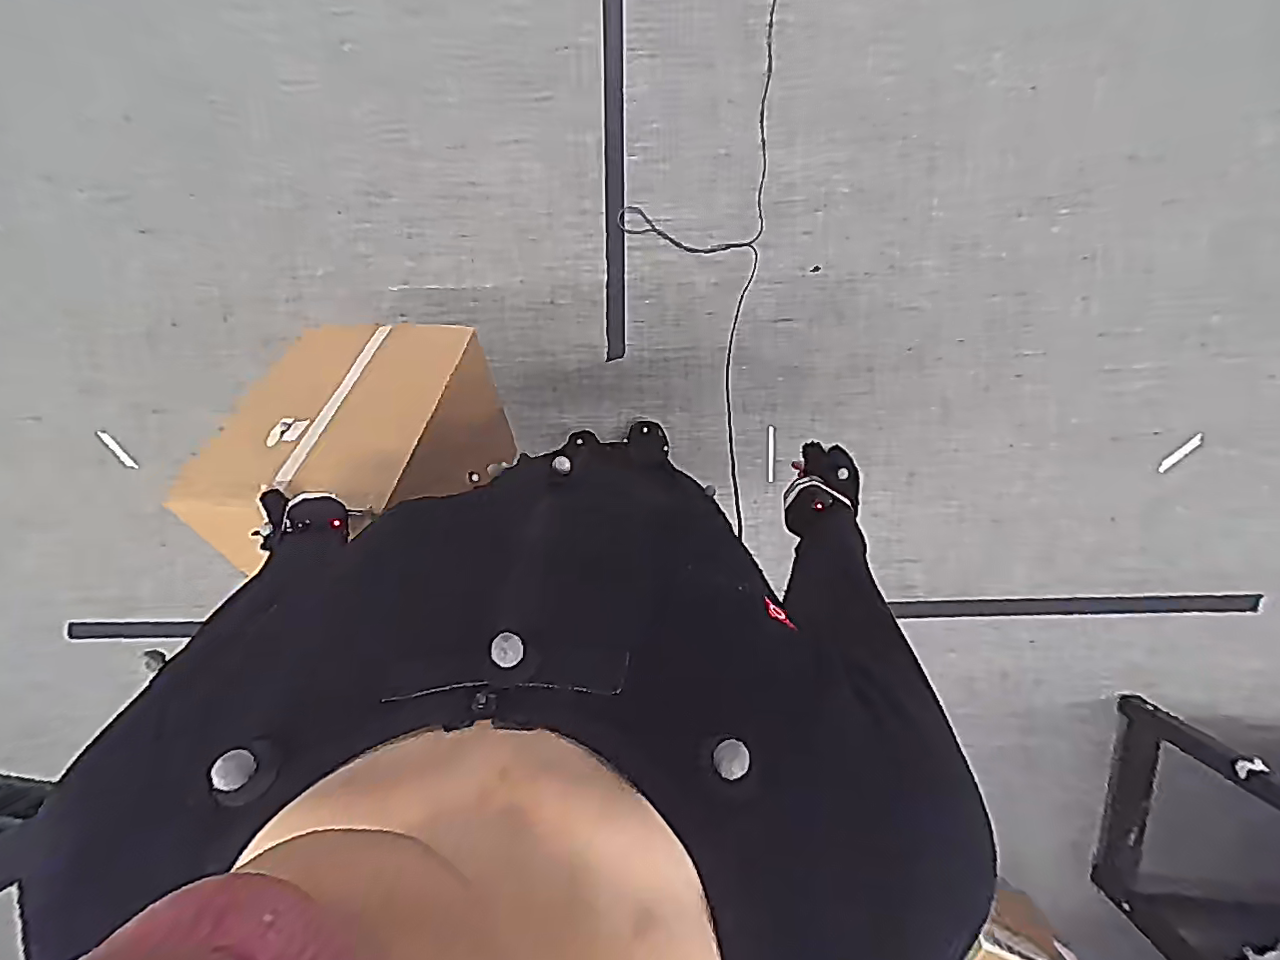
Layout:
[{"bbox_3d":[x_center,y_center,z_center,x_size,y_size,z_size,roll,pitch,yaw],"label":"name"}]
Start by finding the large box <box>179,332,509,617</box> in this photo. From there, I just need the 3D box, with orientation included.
[{"bbox_3d":[-0.453,-0.014,0.956,0.320,0.408,0.320,1,140,7],"label":"large box"}]
